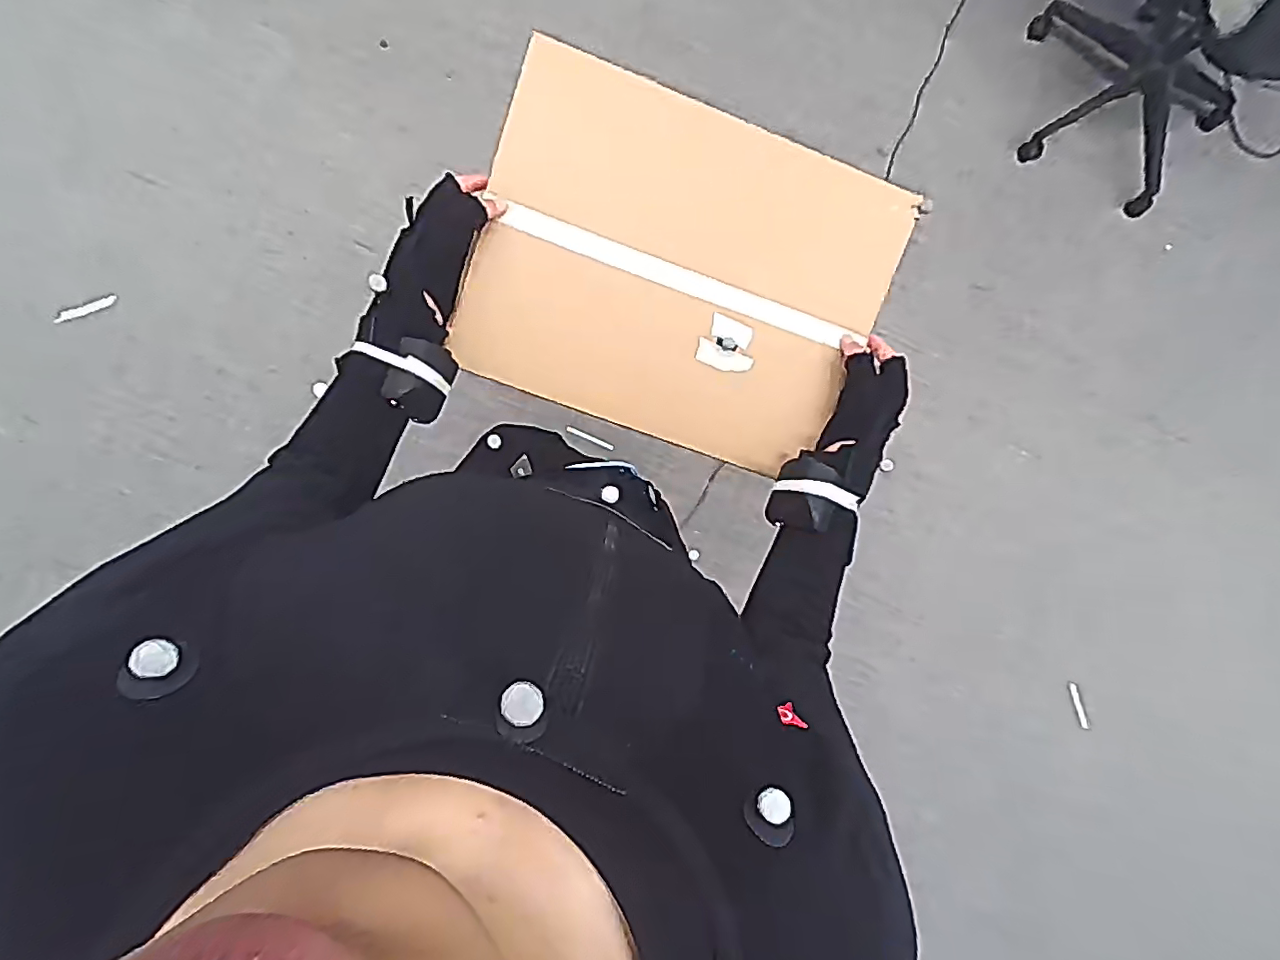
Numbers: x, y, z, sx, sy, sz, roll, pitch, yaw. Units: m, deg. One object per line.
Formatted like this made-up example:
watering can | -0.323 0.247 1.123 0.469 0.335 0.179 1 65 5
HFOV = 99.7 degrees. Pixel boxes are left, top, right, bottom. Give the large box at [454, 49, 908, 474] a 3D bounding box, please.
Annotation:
large box | 0.031 -0.232 0.698 0.408 0.320 0.320 19 99 -7
